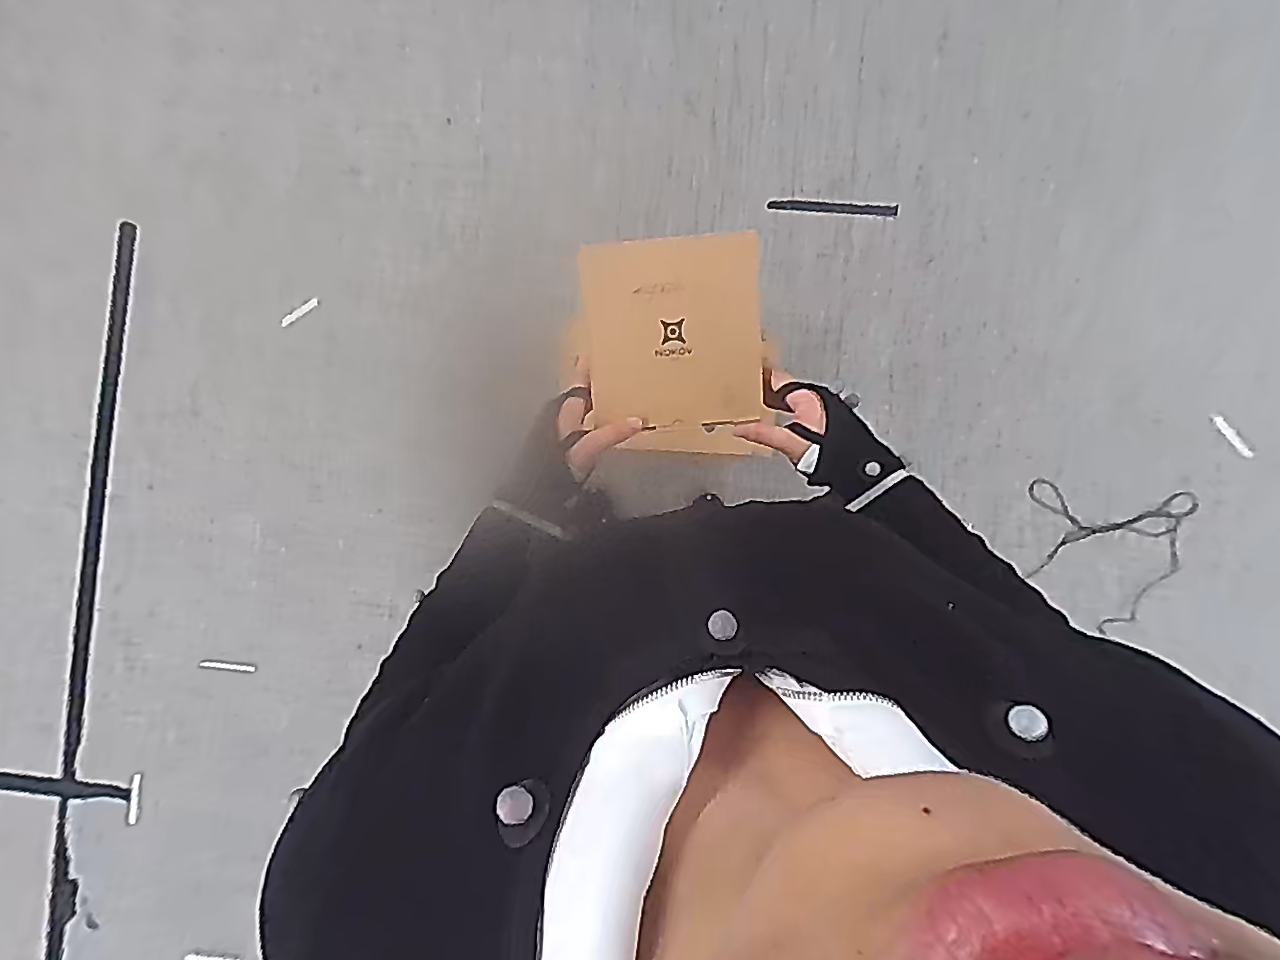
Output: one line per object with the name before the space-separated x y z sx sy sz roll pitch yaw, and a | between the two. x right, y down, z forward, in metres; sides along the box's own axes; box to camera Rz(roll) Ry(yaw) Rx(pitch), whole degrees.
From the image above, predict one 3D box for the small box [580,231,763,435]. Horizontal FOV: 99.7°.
small box | 0.034 -0.150 0.579 0.168 0.176 0.179 -4 102 2
